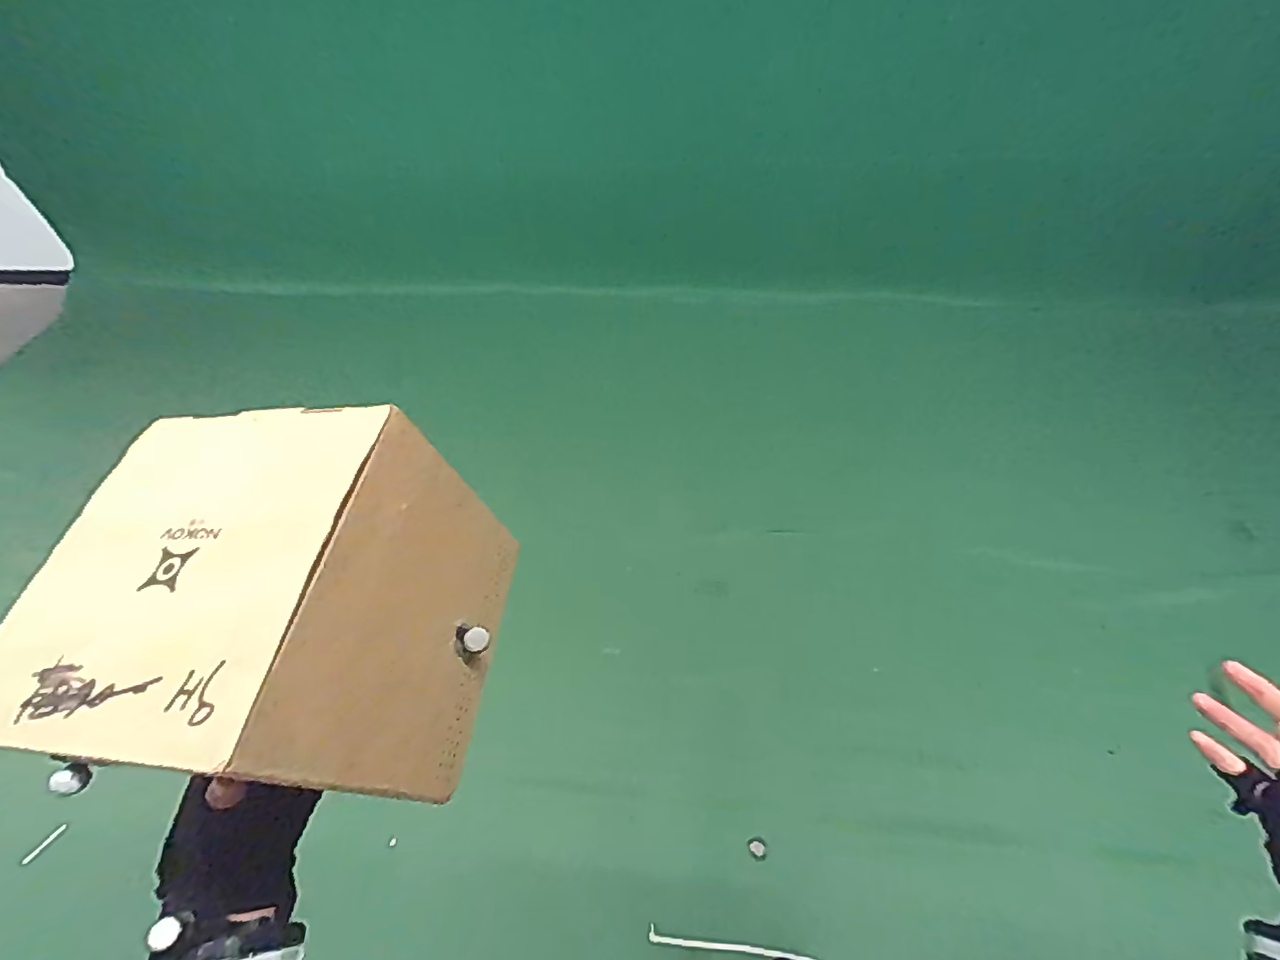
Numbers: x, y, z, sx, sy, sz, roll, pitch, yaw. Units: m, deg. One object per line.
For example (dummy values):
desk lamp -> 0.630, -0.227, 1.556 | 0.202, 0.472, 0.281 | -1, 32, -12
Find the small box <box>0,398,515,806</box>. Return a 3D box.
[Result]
small box -> -0.192, 0.075, 0.316 | 0.168, 0.176, 0.179 | -2, 56, 15
